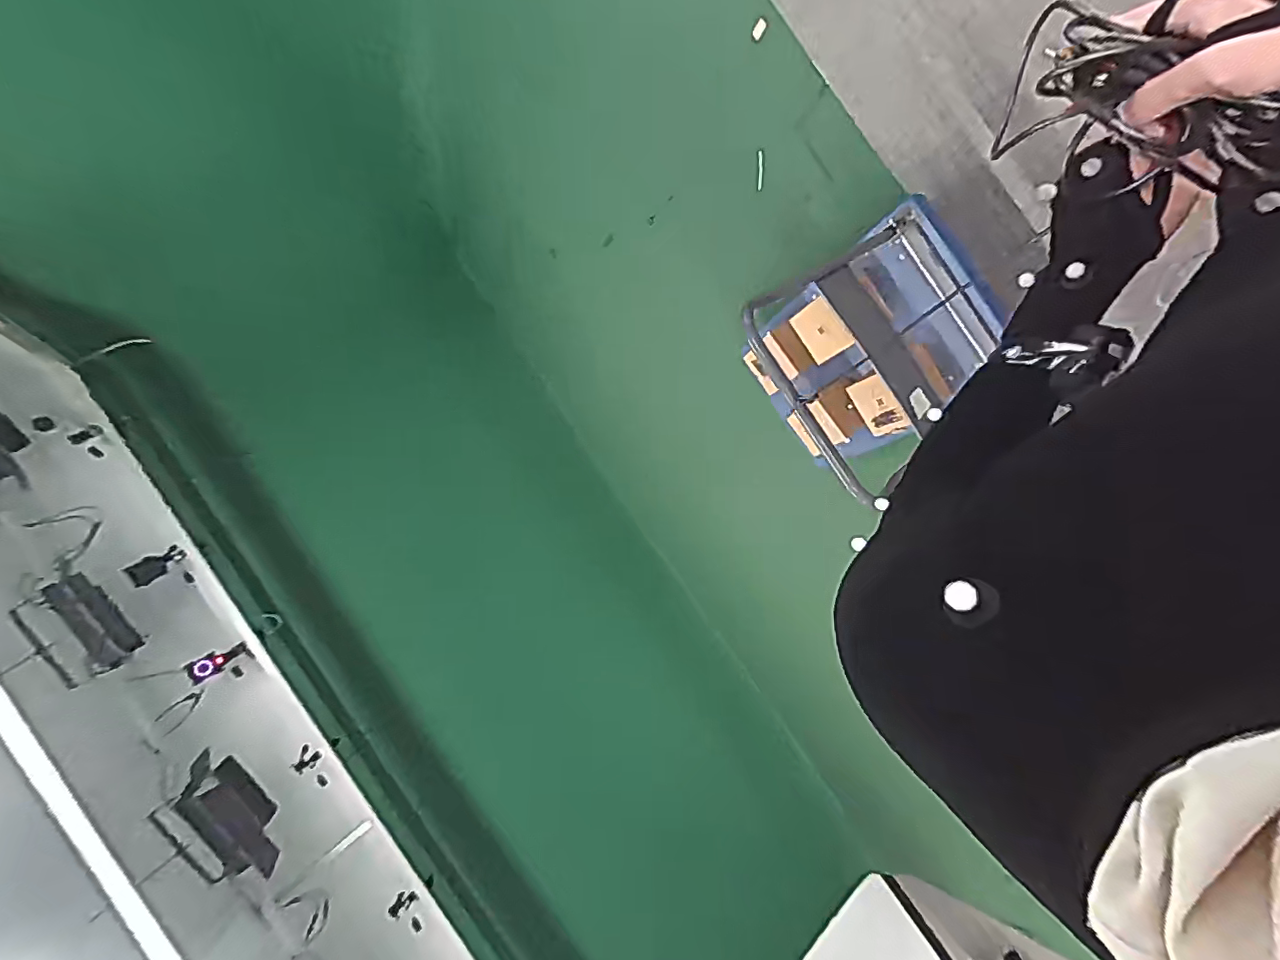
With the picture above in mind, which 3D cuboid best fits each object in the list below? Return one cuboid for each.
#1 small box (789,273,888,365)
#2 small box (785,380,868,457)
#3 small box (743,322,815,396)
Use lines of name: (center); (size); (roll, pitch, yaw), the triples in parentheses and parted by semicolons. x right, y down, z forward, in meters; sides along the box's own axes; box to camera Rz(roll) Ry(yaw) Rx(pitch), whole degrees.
small box: (0.583, -0.472, 1.591); (0.168, 0.176, 0.179); (56, 155, -1)
small box: (0.636, -0.208, 1.822); (0.168, 0.176, 0.179); (55, 156, 4)
small box: (0.489, -0.419, 1.830); (0.168, 0.176, 0.179); (55, 155, 1)
